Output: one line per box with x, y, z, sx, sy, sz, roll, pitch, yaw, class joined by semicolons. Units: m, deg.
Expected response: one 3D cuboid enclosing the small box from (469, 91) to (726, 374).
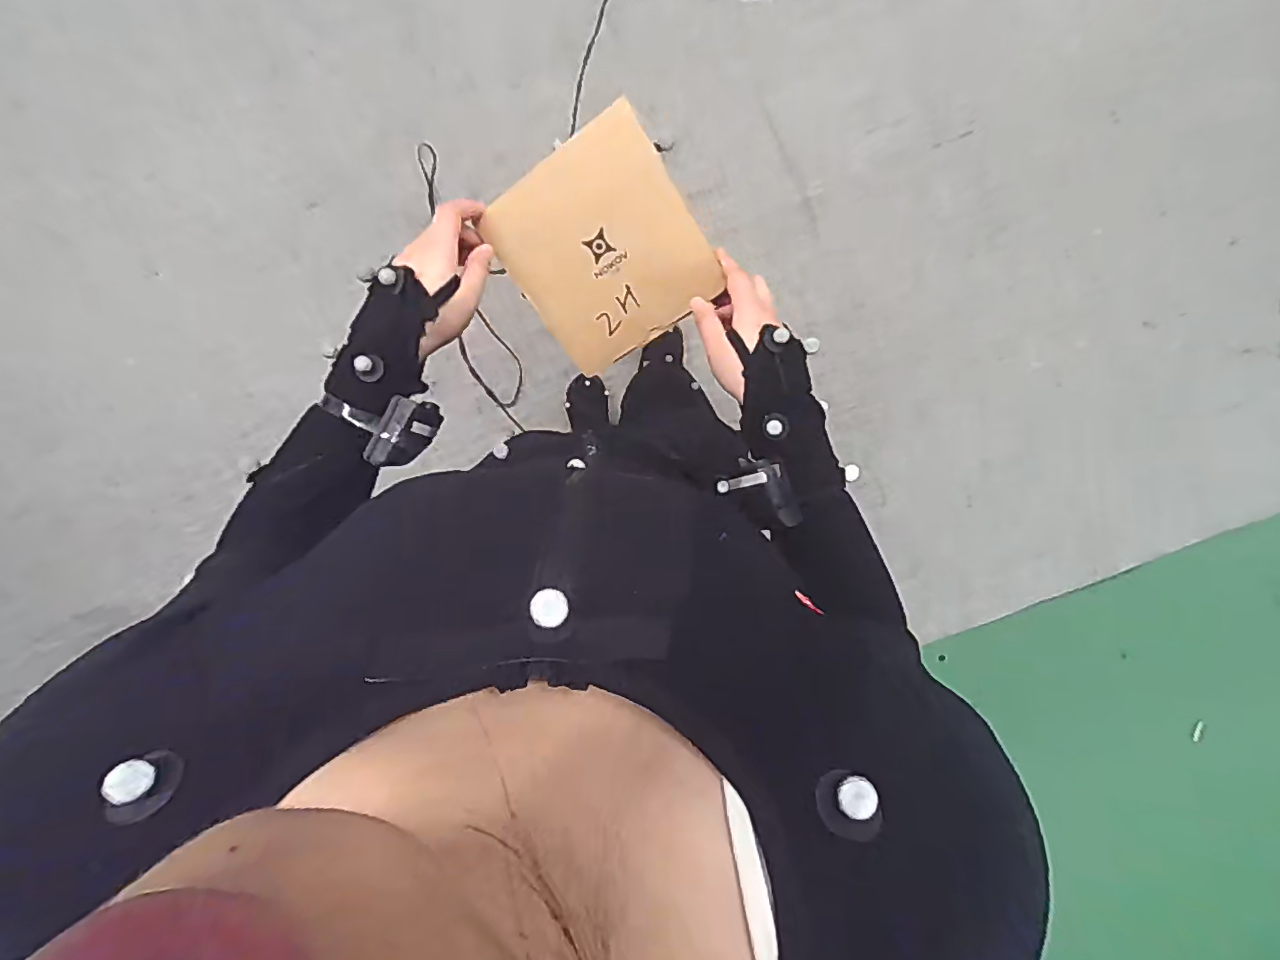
-0.031;-0.244;0.546;0.168;0.176;0.179;-30;115;21;small box
